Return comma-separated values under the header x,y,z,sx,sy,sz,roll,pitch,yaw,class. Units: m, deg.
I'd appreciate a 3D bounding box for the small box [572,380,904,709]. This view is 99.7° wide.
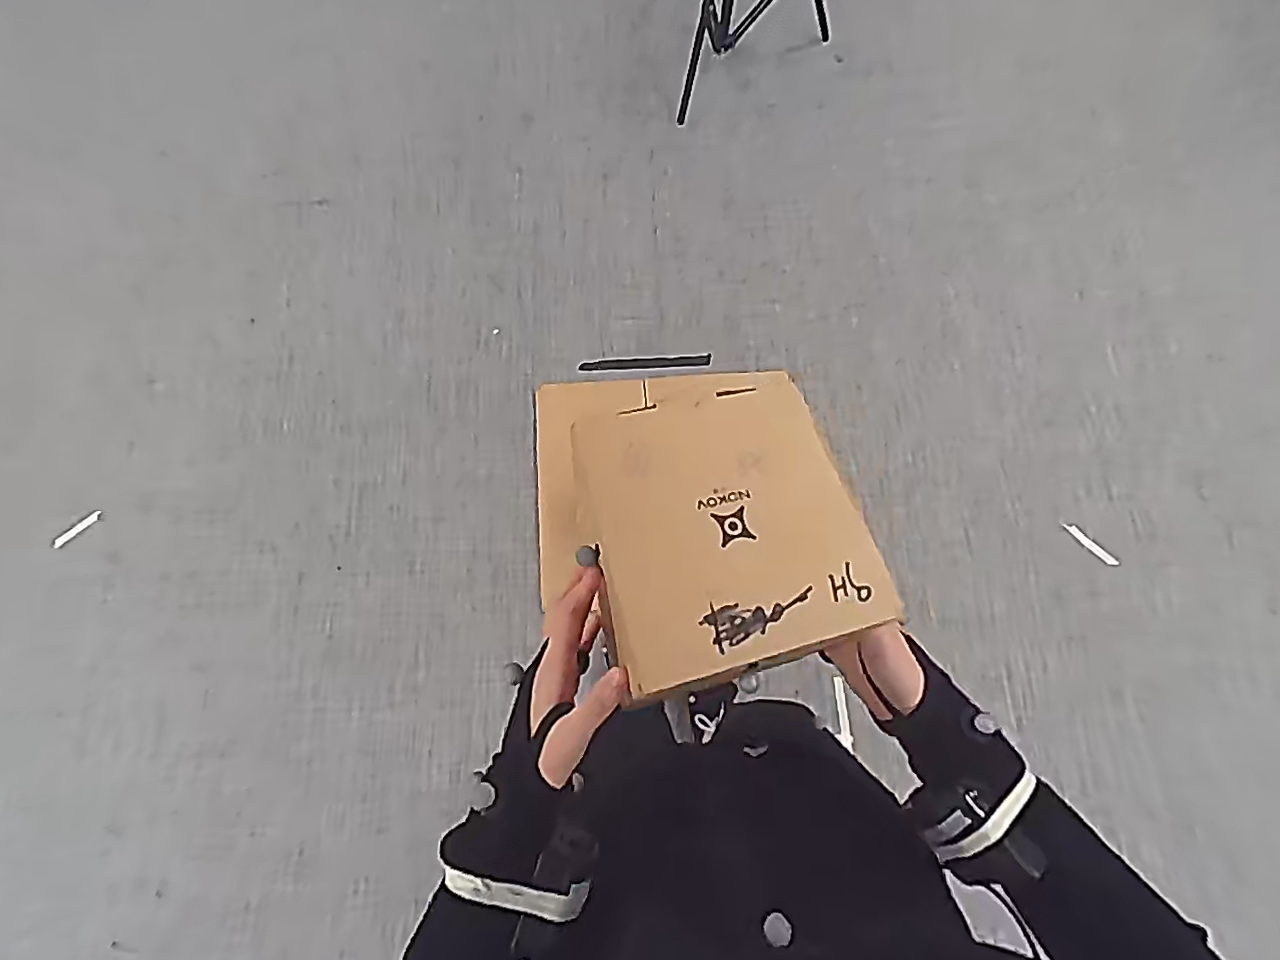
x,y,z,sx,sy,sz,roll,pitch,yaw,class
0.047,0.056,0.404,0.168,0.176,0.179,-13,66,-10,small box
